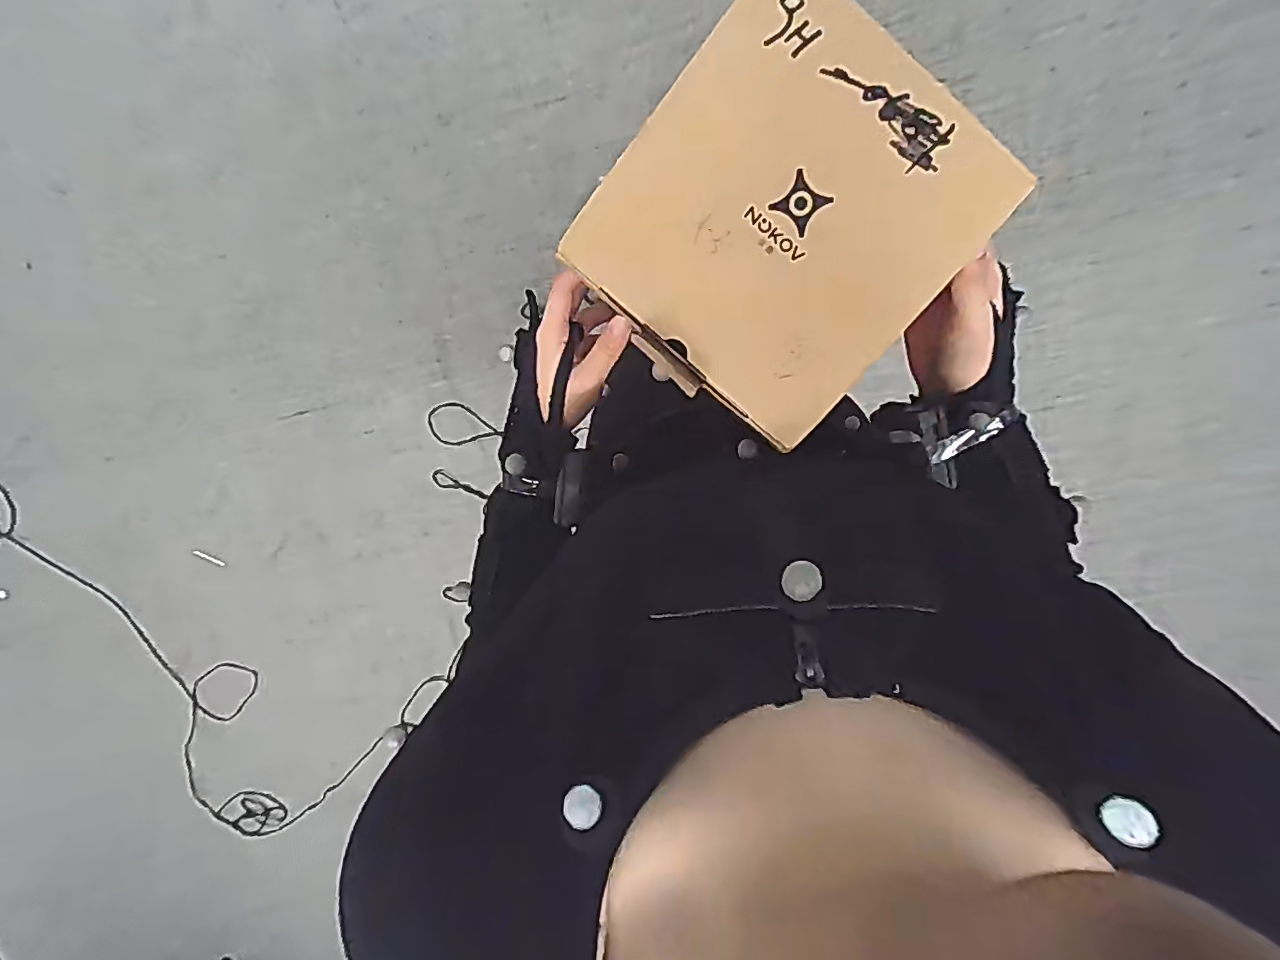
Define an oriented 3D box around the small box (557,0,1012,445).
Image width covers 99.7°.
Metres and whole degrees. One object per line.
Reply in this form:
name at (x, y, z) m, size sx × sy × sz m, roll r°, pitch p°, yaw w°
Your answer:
small box at (0.077, -0.148, 0.357) m, size 0.168 × 0.176 × 0.179 m, roll 40°, pitch 102°, yaw -4°
